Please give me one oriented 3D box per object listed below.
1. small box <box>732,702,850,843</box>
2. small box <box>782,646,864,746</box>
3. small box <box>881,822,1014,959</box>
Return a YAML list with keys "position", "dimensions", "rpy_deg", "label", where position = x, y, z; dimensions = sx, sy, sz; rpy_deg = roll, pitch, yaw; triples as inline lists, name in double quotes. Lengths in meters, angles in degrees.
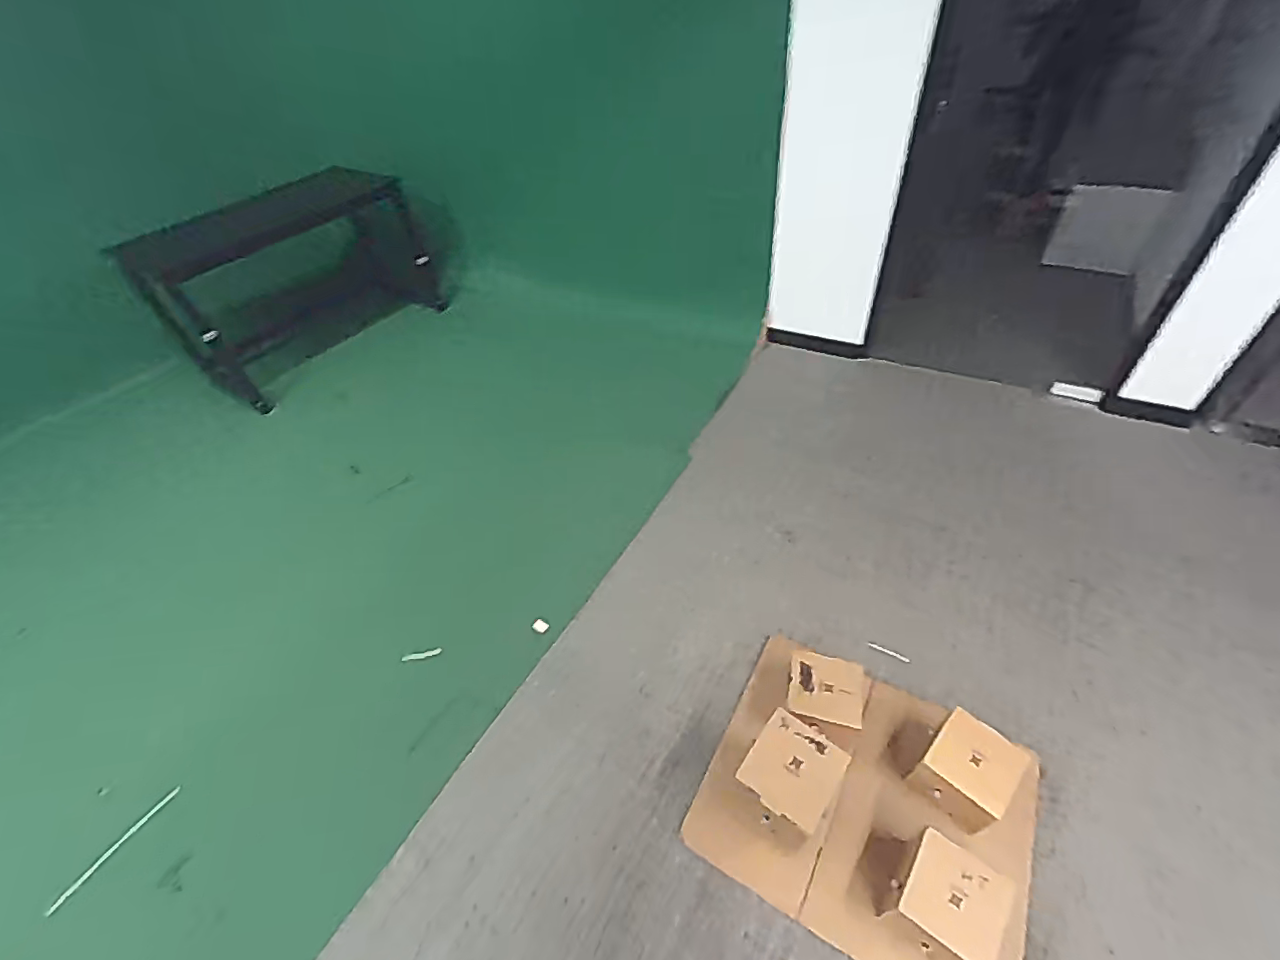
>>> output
- position: [0.306, 0.608, 1.119]
  dimensions: [0.168, 0.176, 0.179]
  rpy_deg: [30, 56, 29]
  label: "small box"
- position: [0.461, 0.555, 1.384]
  dimensions: [0.179, 0.176, 0.168]
  rpy_deg: [10, 48, 15]
  label: "small box"
- position: [0.605, 0.840, 1.083]
  dimensions: [0.168, 0.176, 0.179]
  rpy_deg: [28, 54, 28]
  label: "small box"
